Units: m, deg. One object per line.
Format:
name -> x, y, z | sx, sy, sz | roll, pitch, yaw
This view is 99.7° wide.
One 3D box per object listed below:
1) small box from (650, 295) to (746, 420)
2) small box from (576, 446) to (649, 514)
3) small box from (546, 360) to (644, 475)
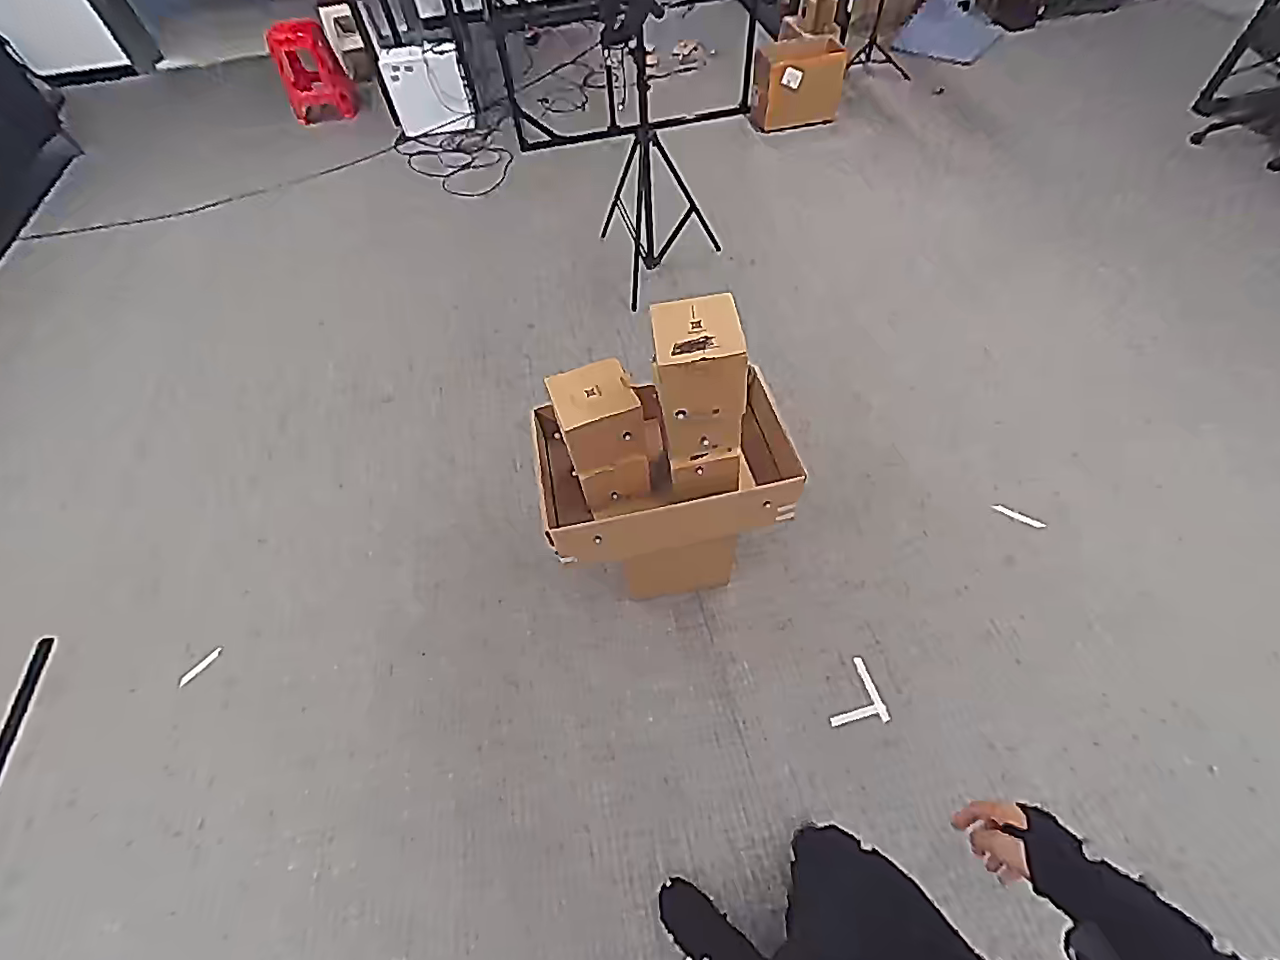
small box -> 0.115, -0.235, 1.077 | 0.168, 0.176, 0.179 | -8, 56, 3
small box -> -0.082, -0.045, 1.364 | 0.168, 0.176, 0.179 | -19, 57, -8
small box -> -0.098, -0.139, 1.232 | 0.179, 0.176, 0.168 | -19, 56, -9
